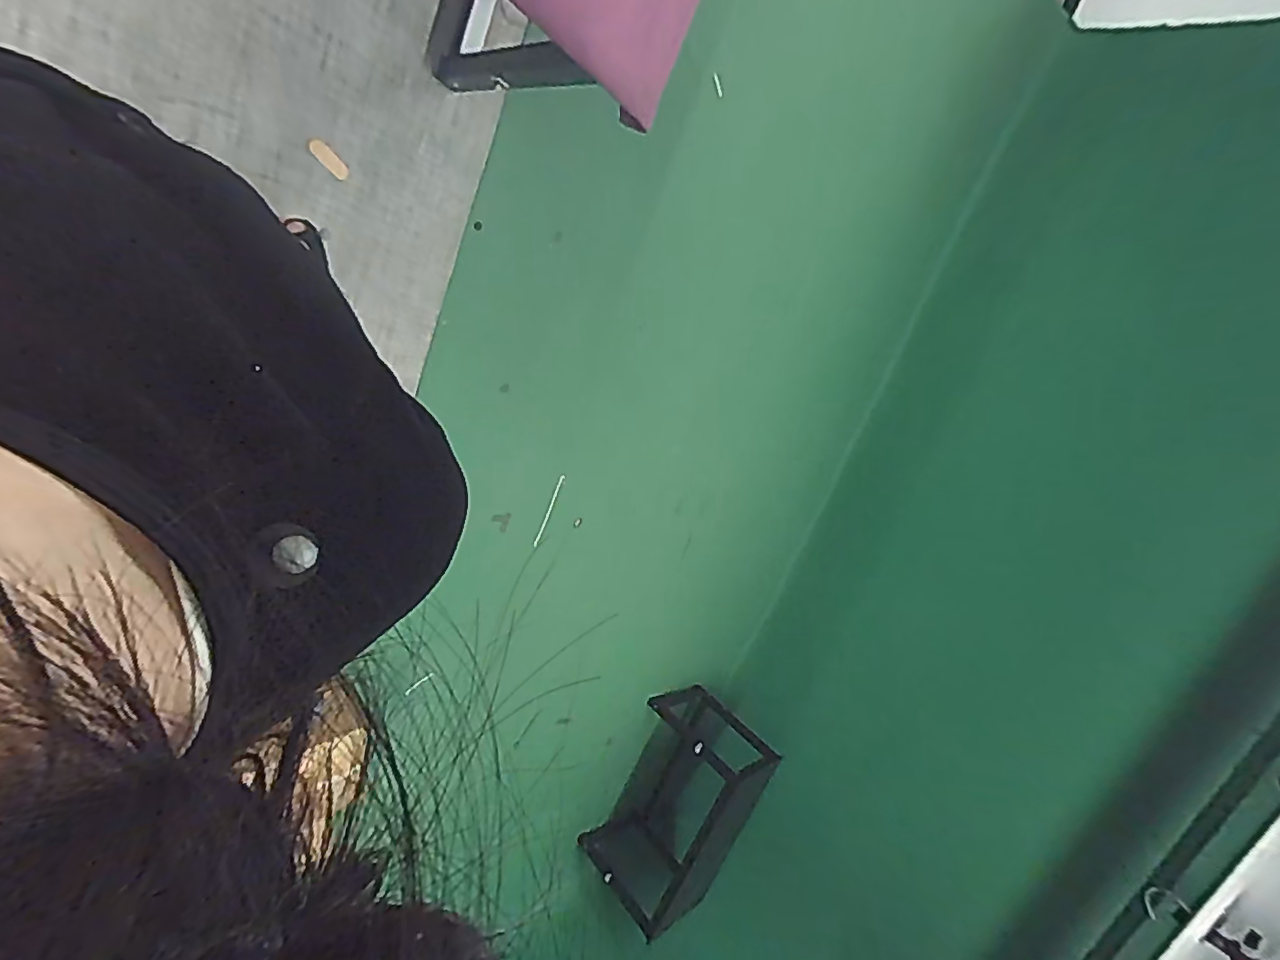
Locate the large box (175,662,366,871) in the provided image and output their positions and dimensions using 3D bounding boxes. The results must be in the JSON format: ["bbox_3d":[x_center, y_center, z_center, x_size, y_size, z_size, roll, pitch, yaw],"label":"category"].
[{"bbox_3d":[-1.079,0.816,1.601,0.408,0.320,0.320,-11,124,-44],"label":"large box"}]

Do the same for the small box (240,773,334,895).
[{"bbox_3d":[-0.936,0.923,1.430,0.179,0.176,0.168,-6,117,-44],"label":"small box"}]
